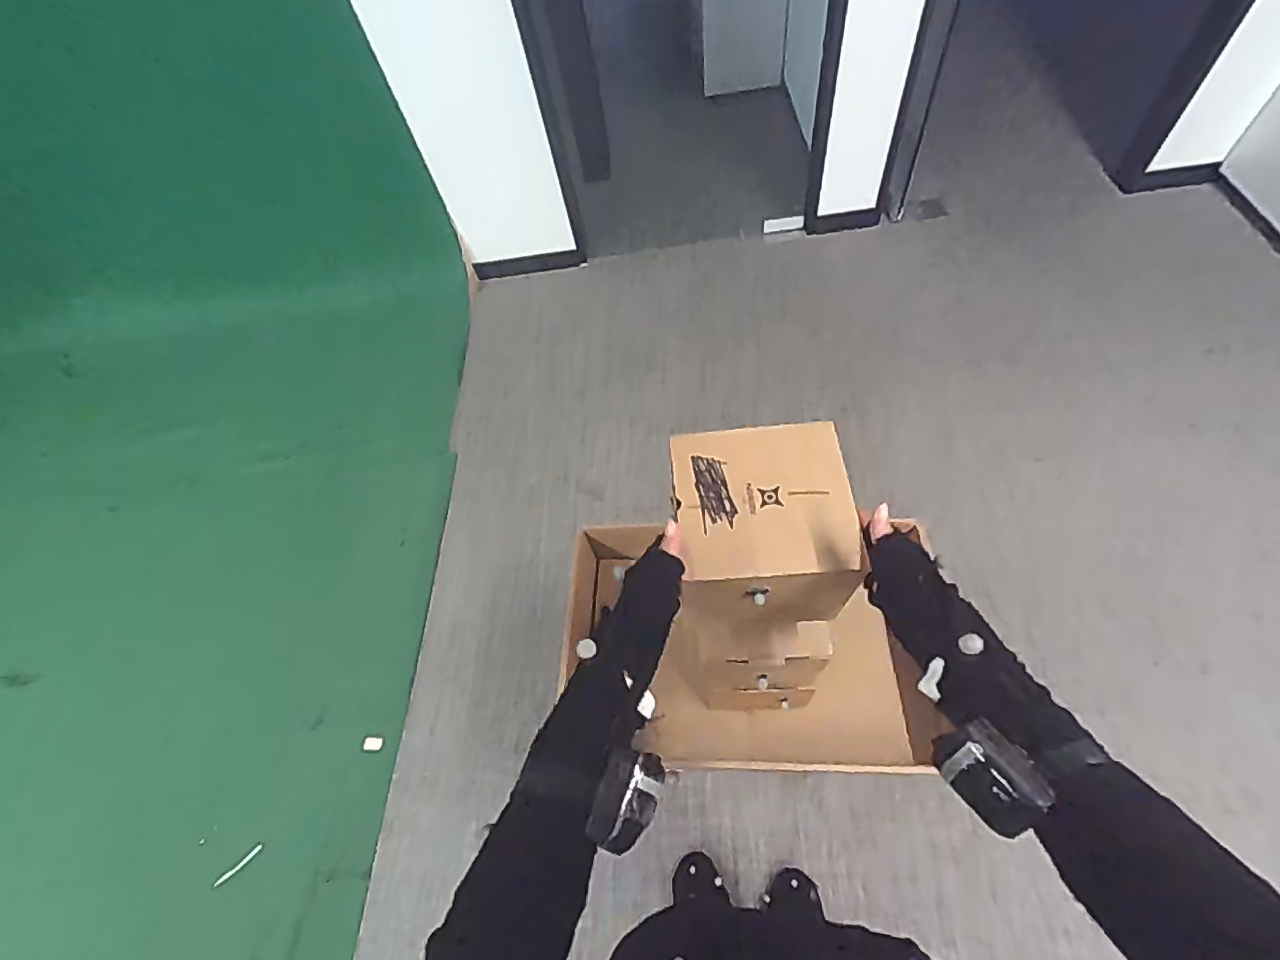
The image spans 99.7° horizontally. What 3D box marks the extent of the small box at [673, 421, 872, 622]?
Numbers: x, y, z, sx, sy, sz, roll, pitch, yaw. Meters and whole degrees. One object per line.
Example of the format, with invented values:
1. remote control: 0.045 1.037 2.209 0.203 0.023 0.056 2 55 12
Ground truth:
1. small box: 0.131 0.054 0.600 0.179 0.176 0.168 -4 60 4

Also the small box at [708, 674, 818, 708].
1. small box: 0.196 0.284 0.919 0.168 0.176 0.179 -4 56 6

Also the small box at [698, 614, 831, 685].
1. small box: 0.168 0.195 0.784 0.168 0.176 0.179 -3 58 6
